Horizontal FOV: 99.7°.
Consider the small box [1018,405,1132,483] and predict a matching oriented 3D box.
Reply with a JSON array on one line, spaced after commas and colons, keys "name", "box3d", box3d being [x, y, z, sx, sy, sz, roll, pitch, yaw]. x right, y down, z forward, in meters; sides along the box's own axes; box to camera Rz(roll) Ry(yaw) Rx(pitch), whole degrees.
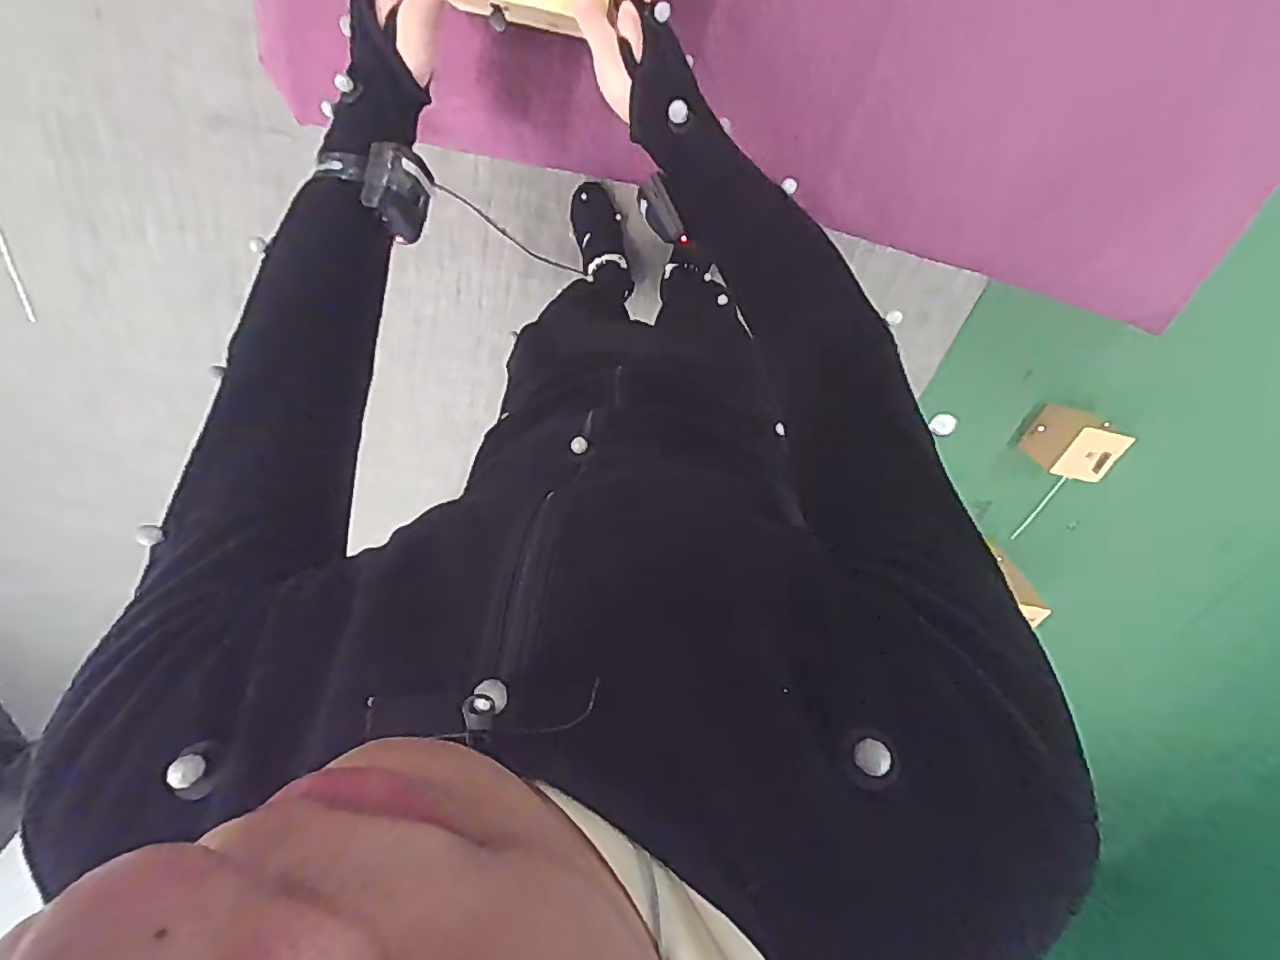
[{"name": "small box", "box3d": [1.334, -0.115, 1.672, 0.179, 0.176, 0.168, 11, 123, -8]}]

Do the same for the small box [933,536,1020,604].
[{"name": "small box", "box3d": [1.222, 0.326, 1.979, 0.179, 0.176, 0.168, 13, 124, -10]}]

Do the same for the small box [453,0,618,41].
[{"name": "small box", "box3d": [-0.094, -0.507, 0.464, 0.168, 0.176, 0.179, 8, 124, -7]}]
